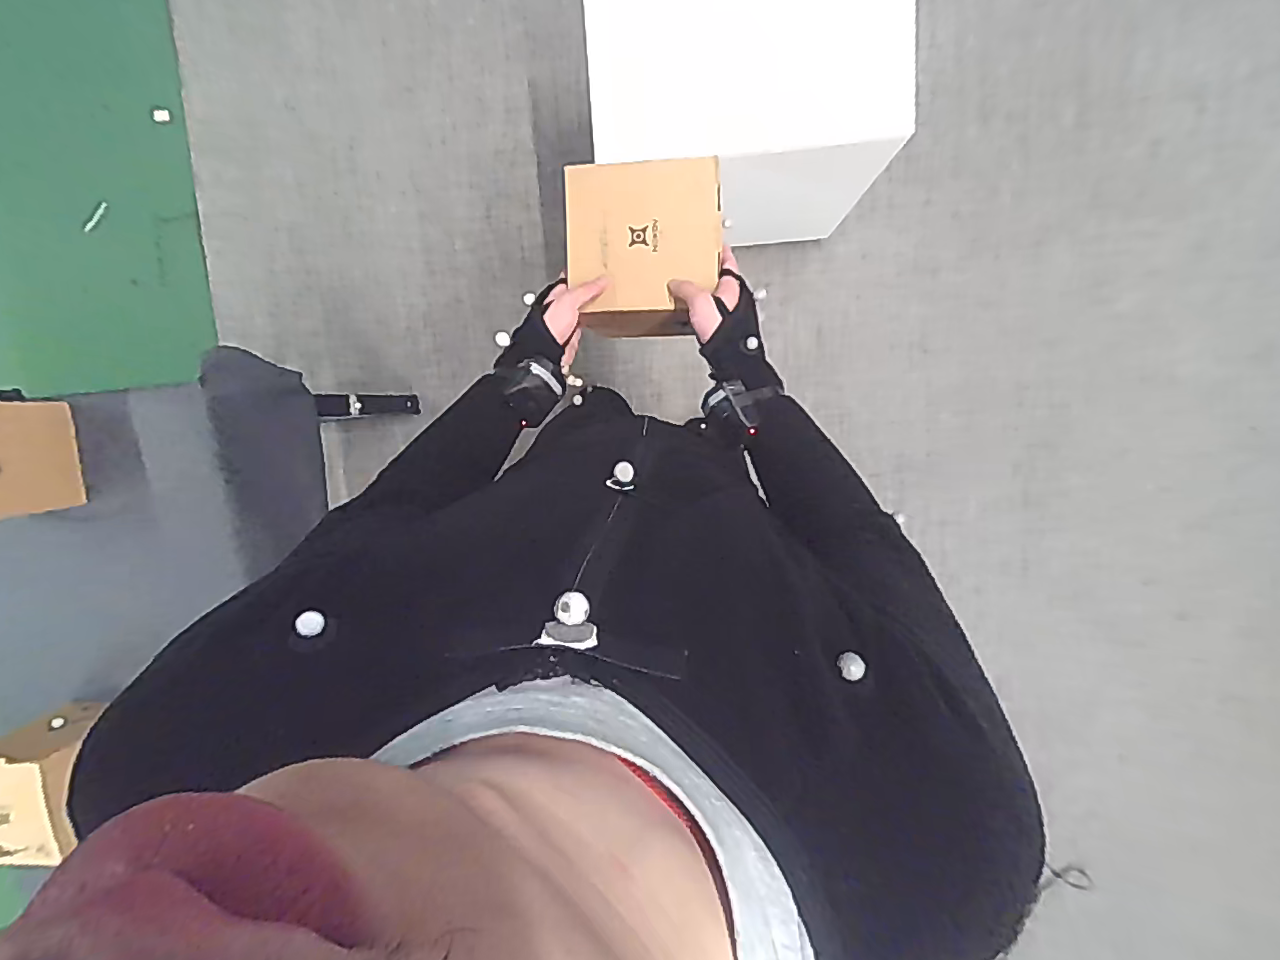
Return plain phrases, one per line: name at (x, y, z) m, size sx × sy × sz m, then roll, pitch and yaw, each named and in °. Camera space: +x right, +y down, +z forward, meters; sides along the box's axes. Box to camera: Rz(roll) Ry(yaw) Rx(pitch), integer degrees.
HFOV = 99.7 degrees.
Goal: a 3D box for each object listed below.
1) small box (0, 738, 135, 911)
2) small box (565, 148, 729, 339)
small box at (-0.955, 0.525, 0.845) m, size 0.168 × 0.176 × 0.179 m, roll -4°, pitch 97°, yaw 4°
small box at (0.014, -0.274, 0.665) m, size 0.179 × 0.176 × 0.168 m, roll -2°, pitch 93°, yaw 6°
